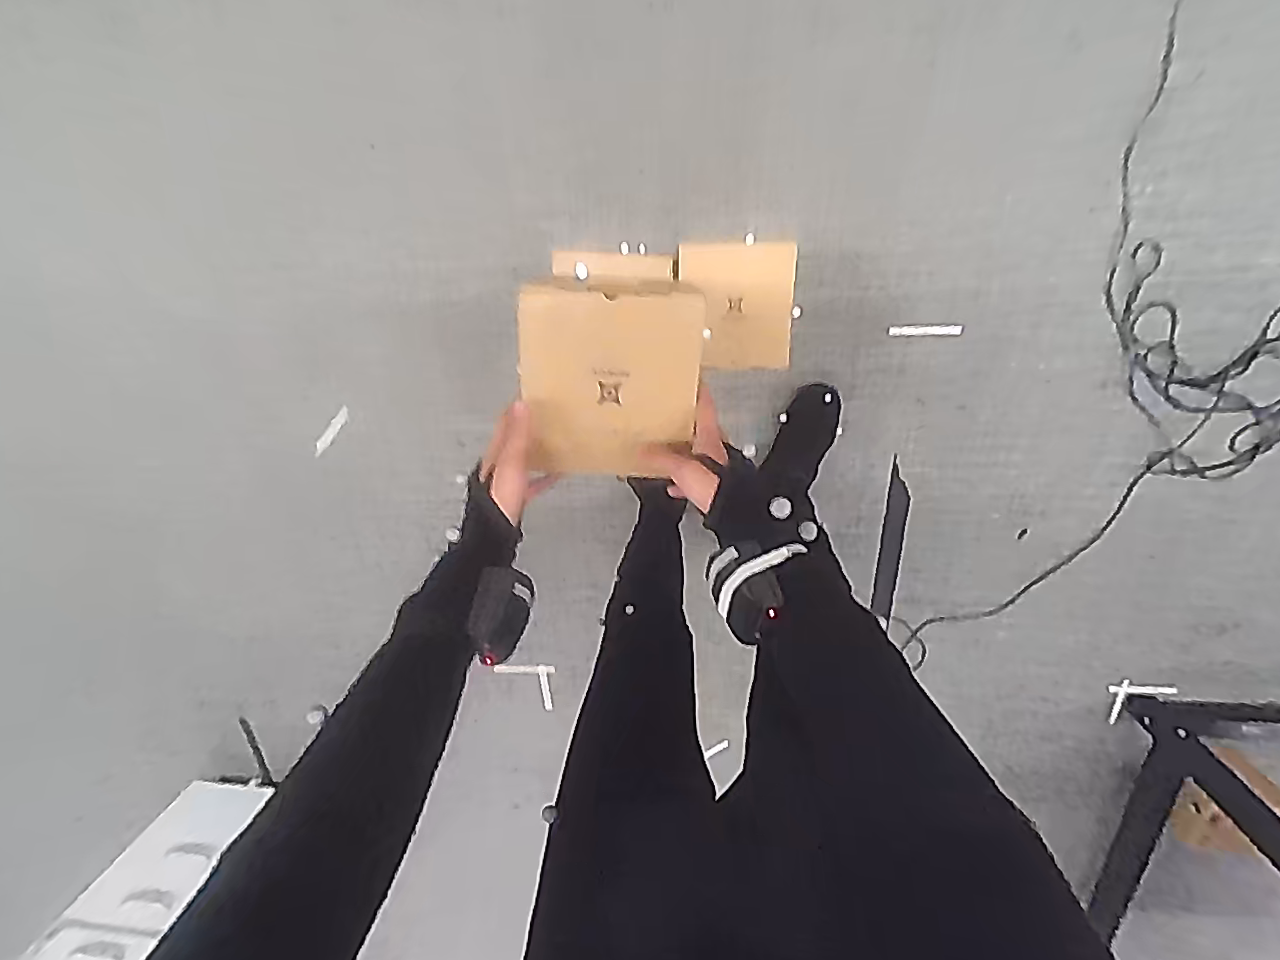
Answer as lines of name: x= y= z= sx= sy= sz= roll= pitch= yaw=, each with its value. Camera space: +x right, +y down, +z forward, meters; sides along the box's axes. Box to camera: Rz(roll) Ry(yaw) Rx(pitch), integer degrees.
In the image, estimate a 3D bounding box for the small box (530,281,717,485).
small box: x=-0.019 y=-0.110 z=0.571 sx=0.168 sy=0.176 sz=0.179 roll=4 pitch=114 yaw=0
